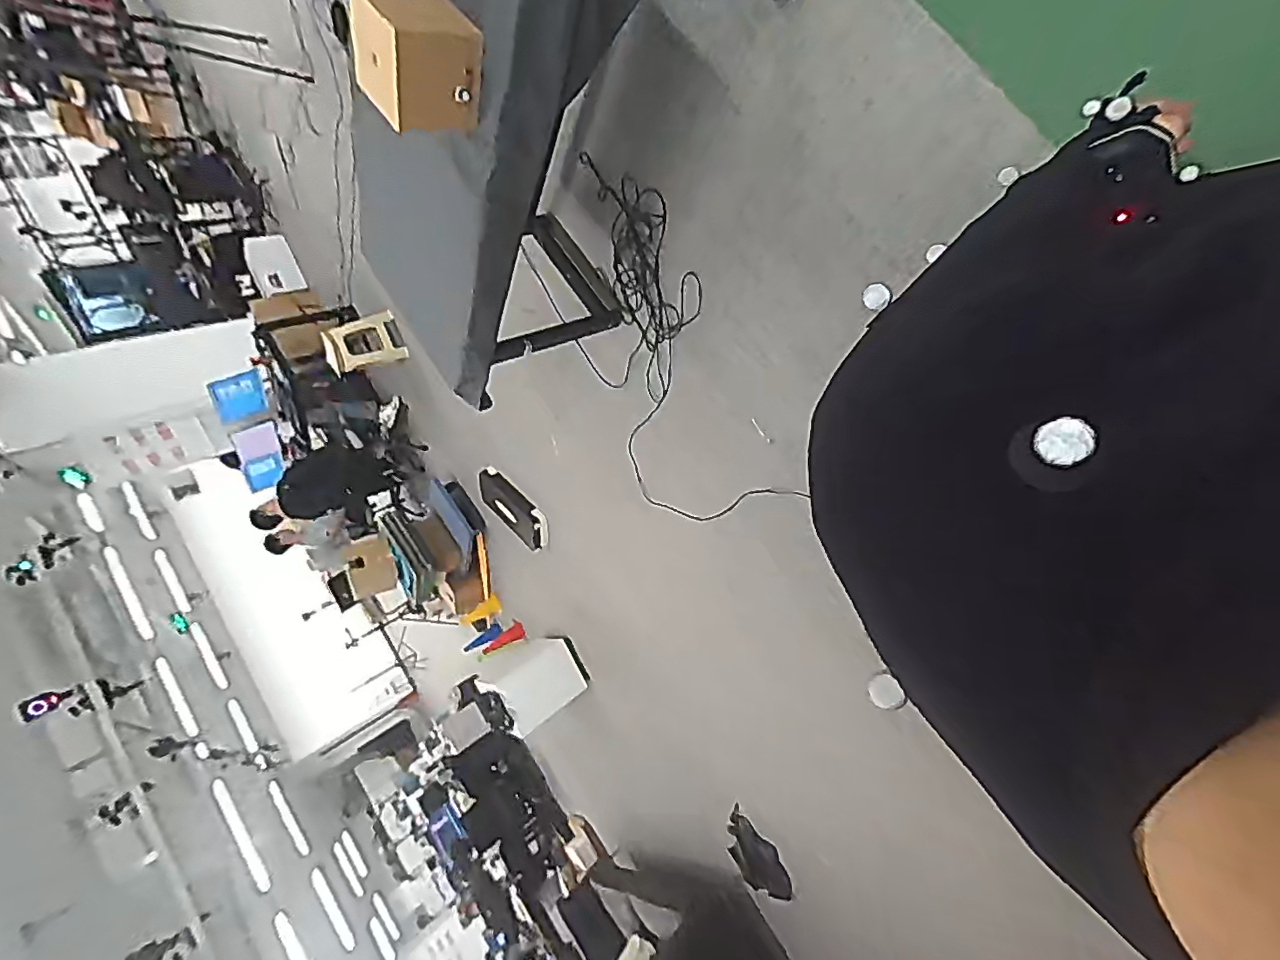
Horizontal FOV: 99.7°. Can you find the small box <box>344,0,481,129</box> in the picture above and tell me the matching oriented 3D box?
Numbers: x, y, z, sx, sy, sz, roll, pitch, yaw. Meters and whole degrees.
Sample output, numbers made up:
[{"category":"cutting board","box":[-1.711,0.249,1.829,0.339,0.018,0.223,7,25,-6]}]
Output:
[{"category":"small box","box":[-0.417,-0.780,0.995,0.179,0.176,0.168,50,145,16]}]
